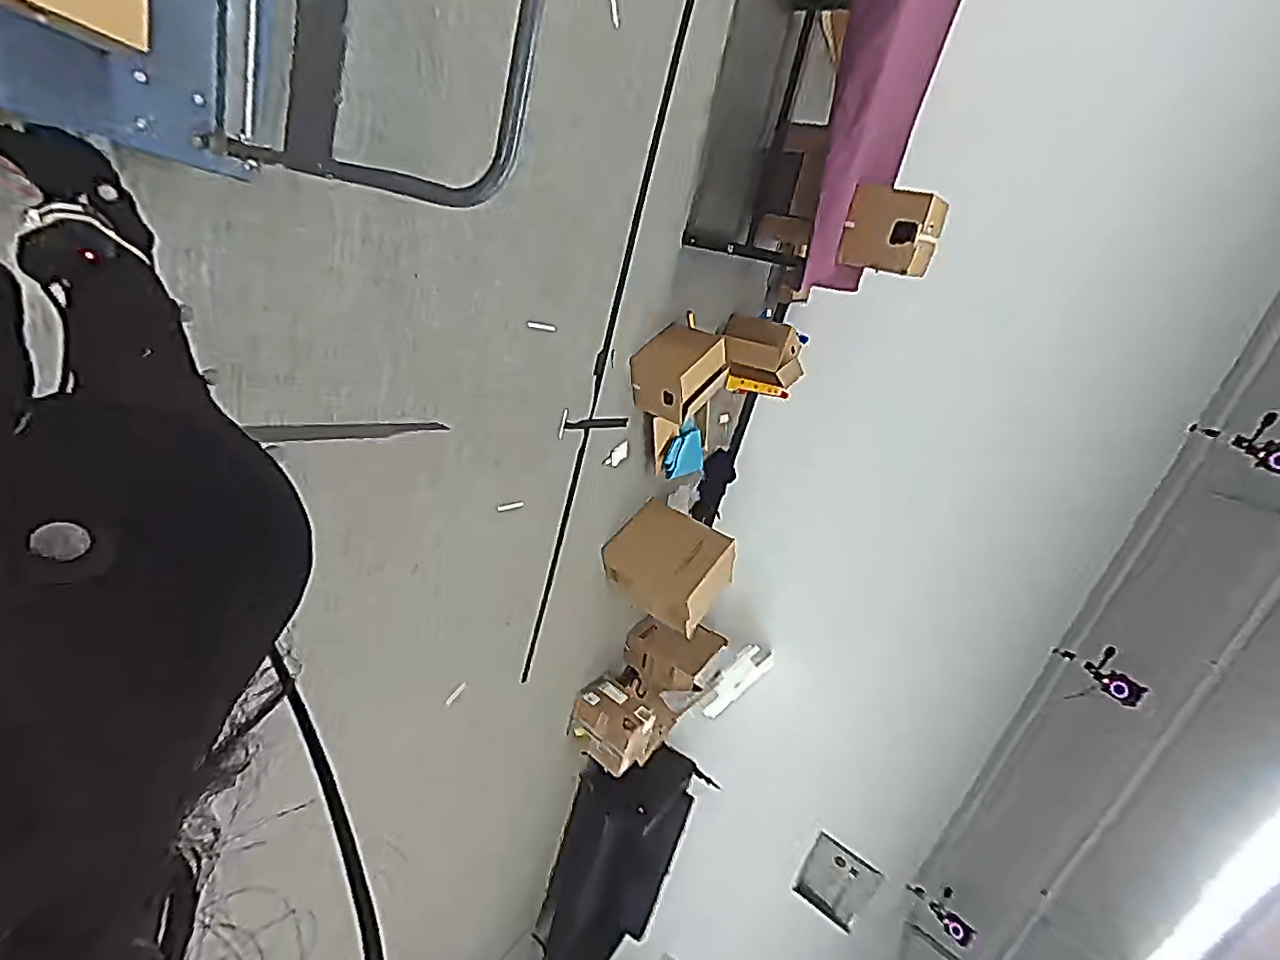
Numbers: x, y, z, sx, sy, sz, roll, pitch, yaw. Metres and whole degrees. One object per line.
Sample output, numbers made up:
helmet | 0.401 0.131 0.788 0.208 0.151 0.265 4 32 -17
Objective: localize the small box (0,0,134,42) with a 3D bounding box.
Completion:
small box | -0.819 -0.727 0.721 0.179 0.176 0.168 -10 121 -59
